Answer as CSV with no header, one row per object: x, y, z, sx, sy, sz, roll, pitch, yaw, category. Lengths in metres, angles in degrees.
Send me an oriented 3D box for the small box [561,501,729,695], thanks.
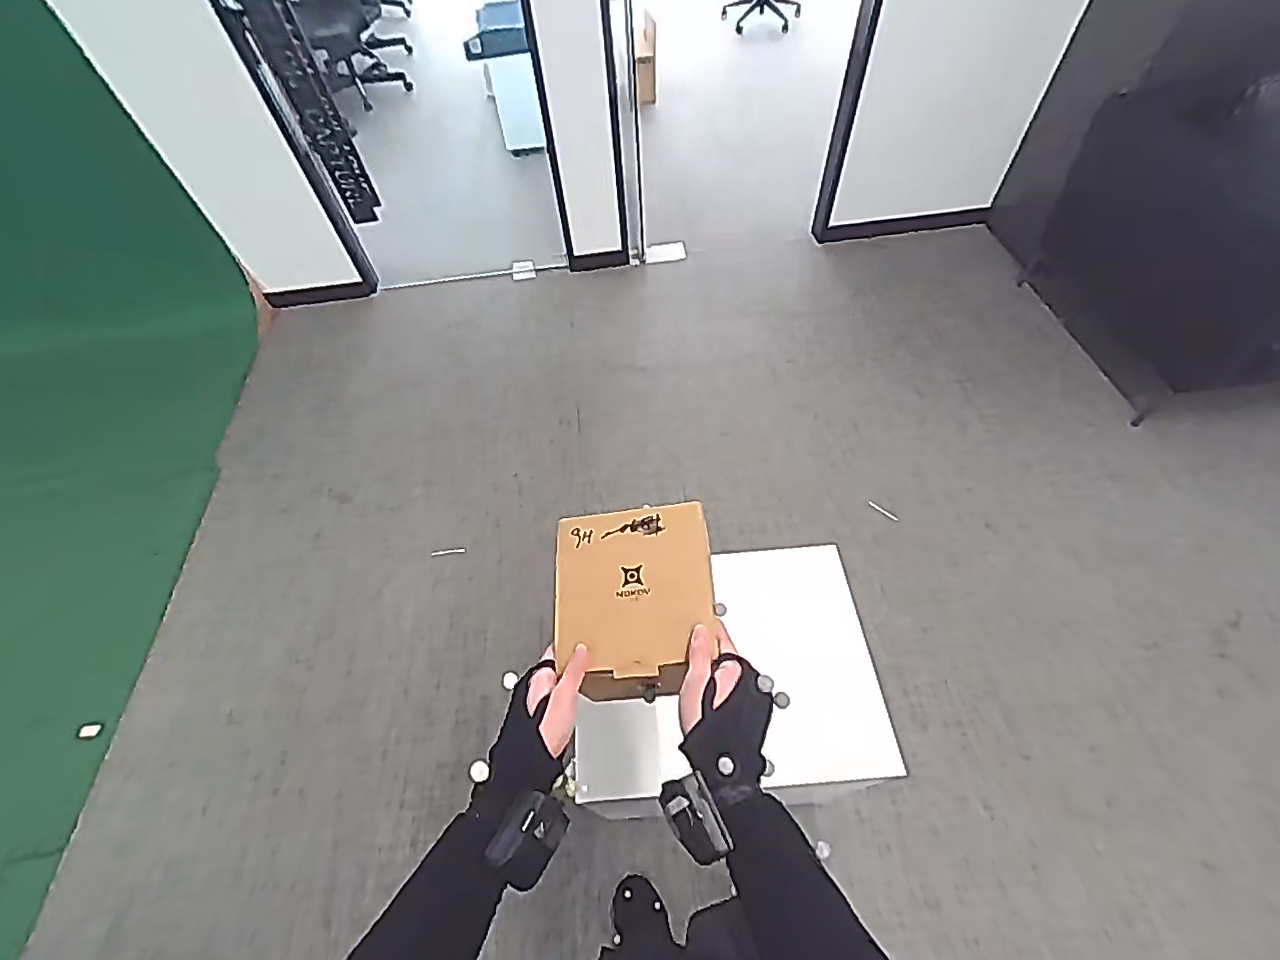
0.010,0.149,0.641,0.168,0.176,0.179,-10,58,6,small box
